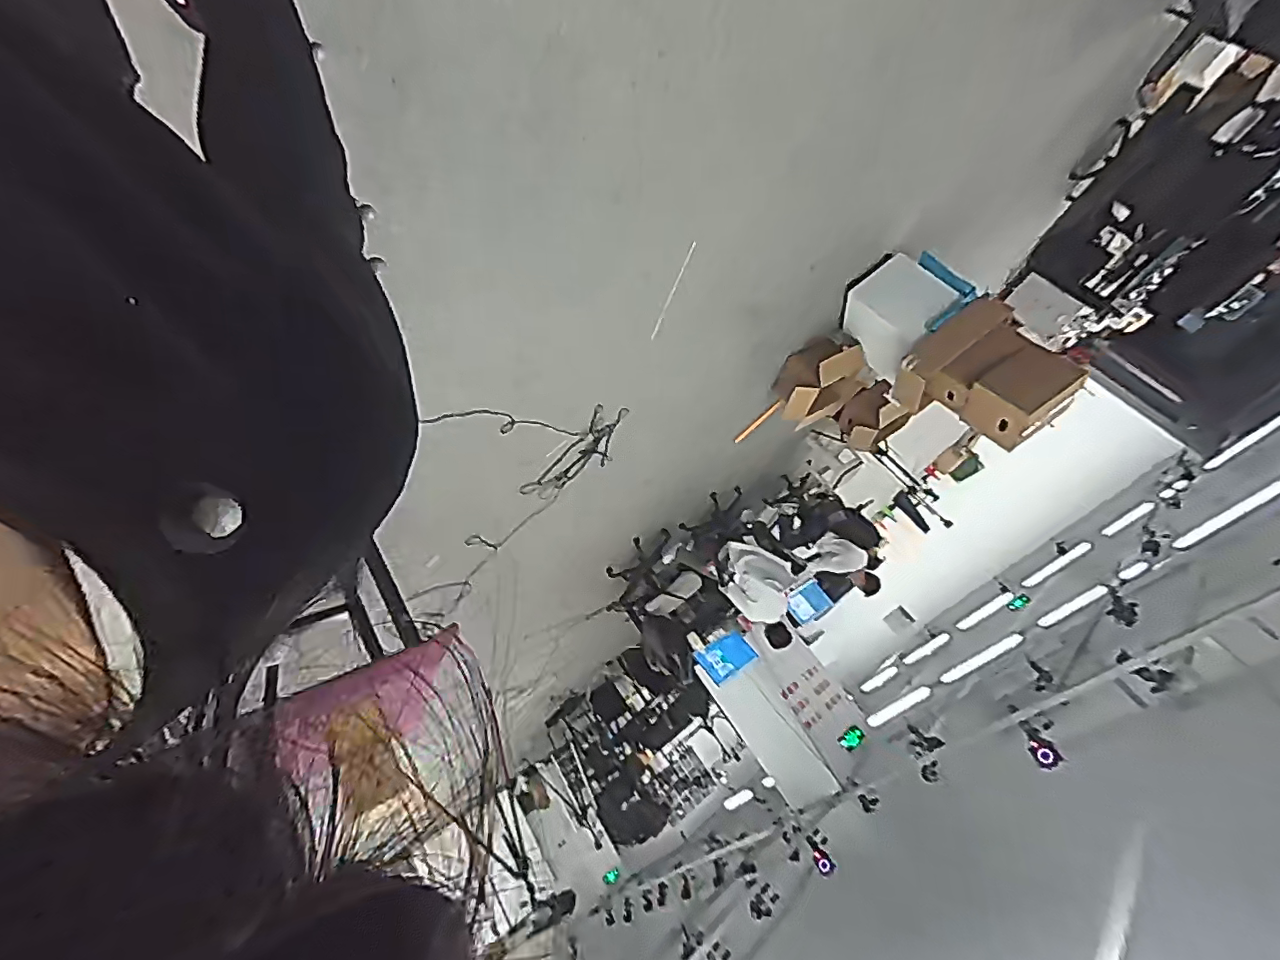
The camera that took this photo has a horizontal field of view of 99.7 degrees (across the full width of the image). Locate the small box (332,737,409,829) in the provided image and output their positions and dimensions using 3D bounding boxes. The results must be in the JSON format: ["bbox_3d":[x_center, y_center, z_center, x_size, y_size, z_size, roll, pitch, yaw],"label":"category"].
[{"bbox_3d":[-0.827,0.922,1.654,0.168,0.176,0.179,-18,151,-38],"label":"small box"}]
